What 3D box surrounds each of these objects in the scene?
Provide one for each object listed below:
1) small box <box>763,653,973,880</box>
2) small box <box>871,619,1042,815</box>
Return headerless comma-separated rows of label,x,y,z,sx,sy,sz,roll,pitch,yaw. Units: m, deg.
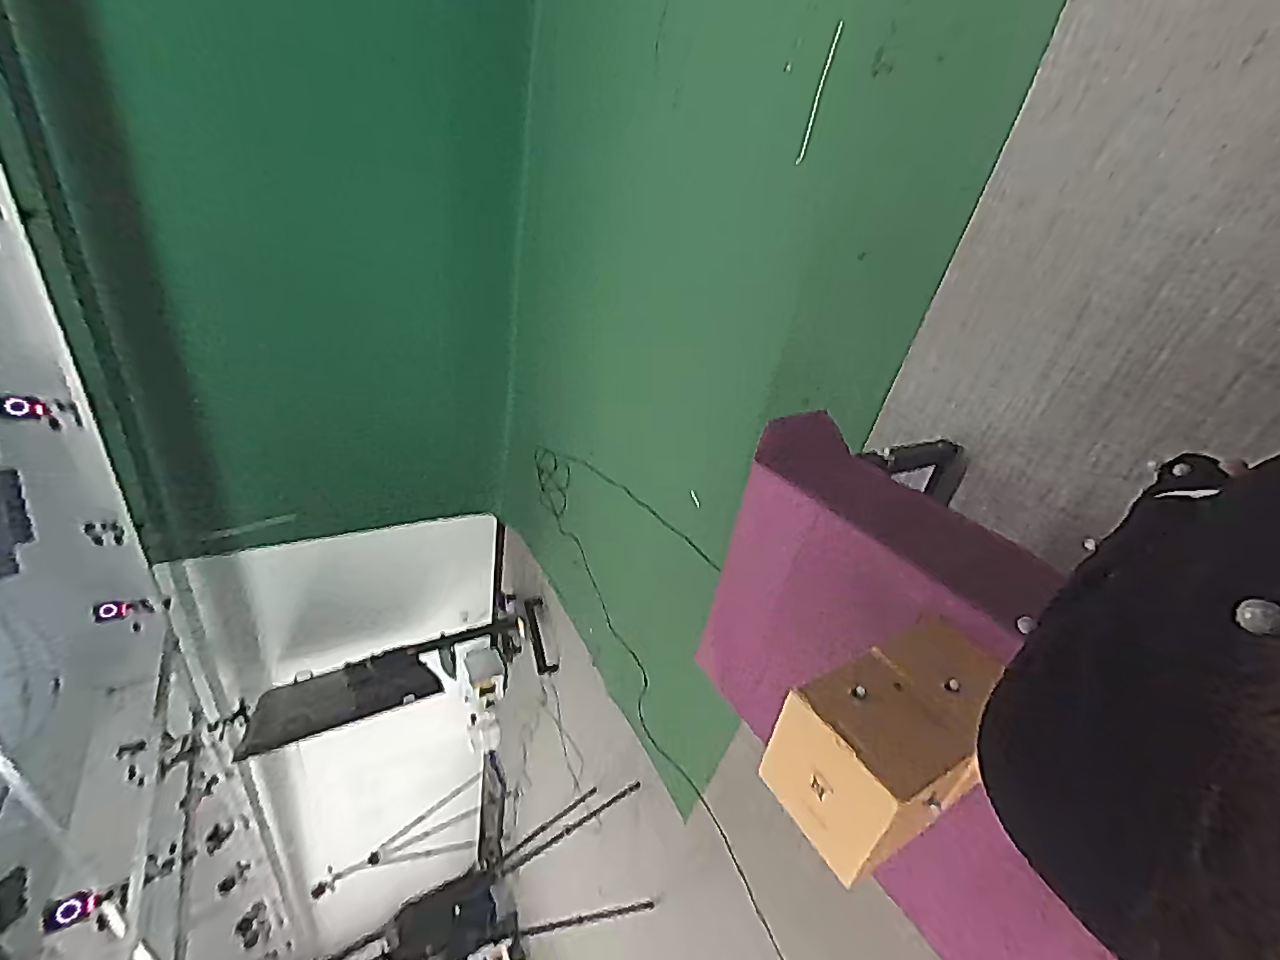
small box,0.296,0.360,0.710,0.168,0.176,0.179,43,133,46
small box,0.434,0.332,0.792,0.179,0.176,0.168,45,133,44
